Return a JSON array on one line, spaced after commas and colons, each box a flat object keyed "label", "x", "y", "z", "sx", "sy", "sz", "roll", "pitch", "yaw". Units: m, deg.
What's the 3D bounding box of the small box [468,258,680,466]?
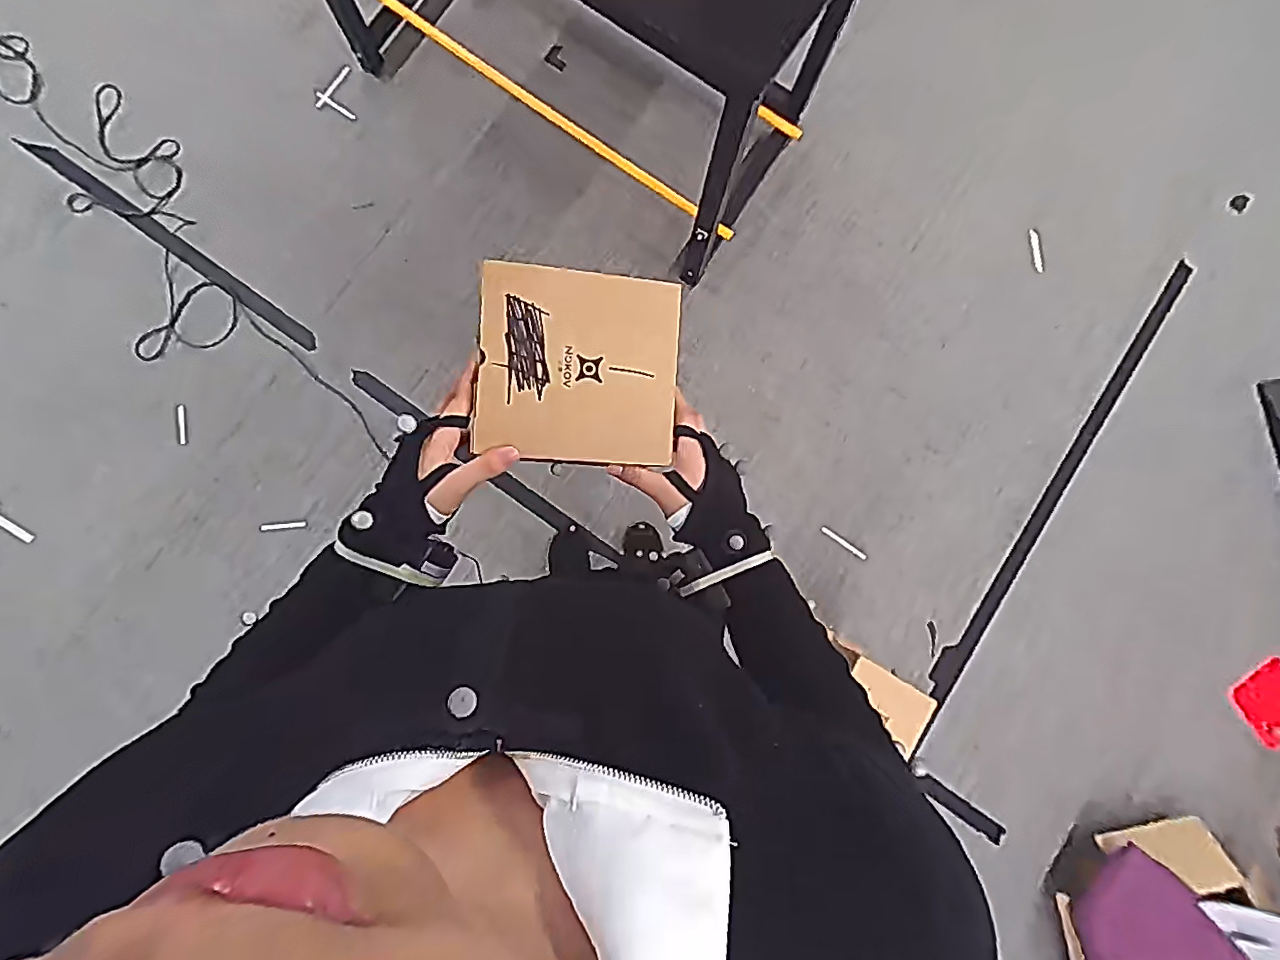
[{"label": "small box", "x": -0.069, "y": -0.101, "z": 0.544, "sx": 0.179, "sy": 0.176, "sz": 0.168, "roll": 3, "pitch": 90, "yaw": -11}]

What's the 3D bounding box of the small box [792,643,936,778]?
[{"label": "small box", "x": 0.443, "y": 0.452, "z": 1.096, "sx": 0.179, "sy": 0.176, "sz": 0.168, "roll": 32, "pitch": 83, "yaw": 1}]
